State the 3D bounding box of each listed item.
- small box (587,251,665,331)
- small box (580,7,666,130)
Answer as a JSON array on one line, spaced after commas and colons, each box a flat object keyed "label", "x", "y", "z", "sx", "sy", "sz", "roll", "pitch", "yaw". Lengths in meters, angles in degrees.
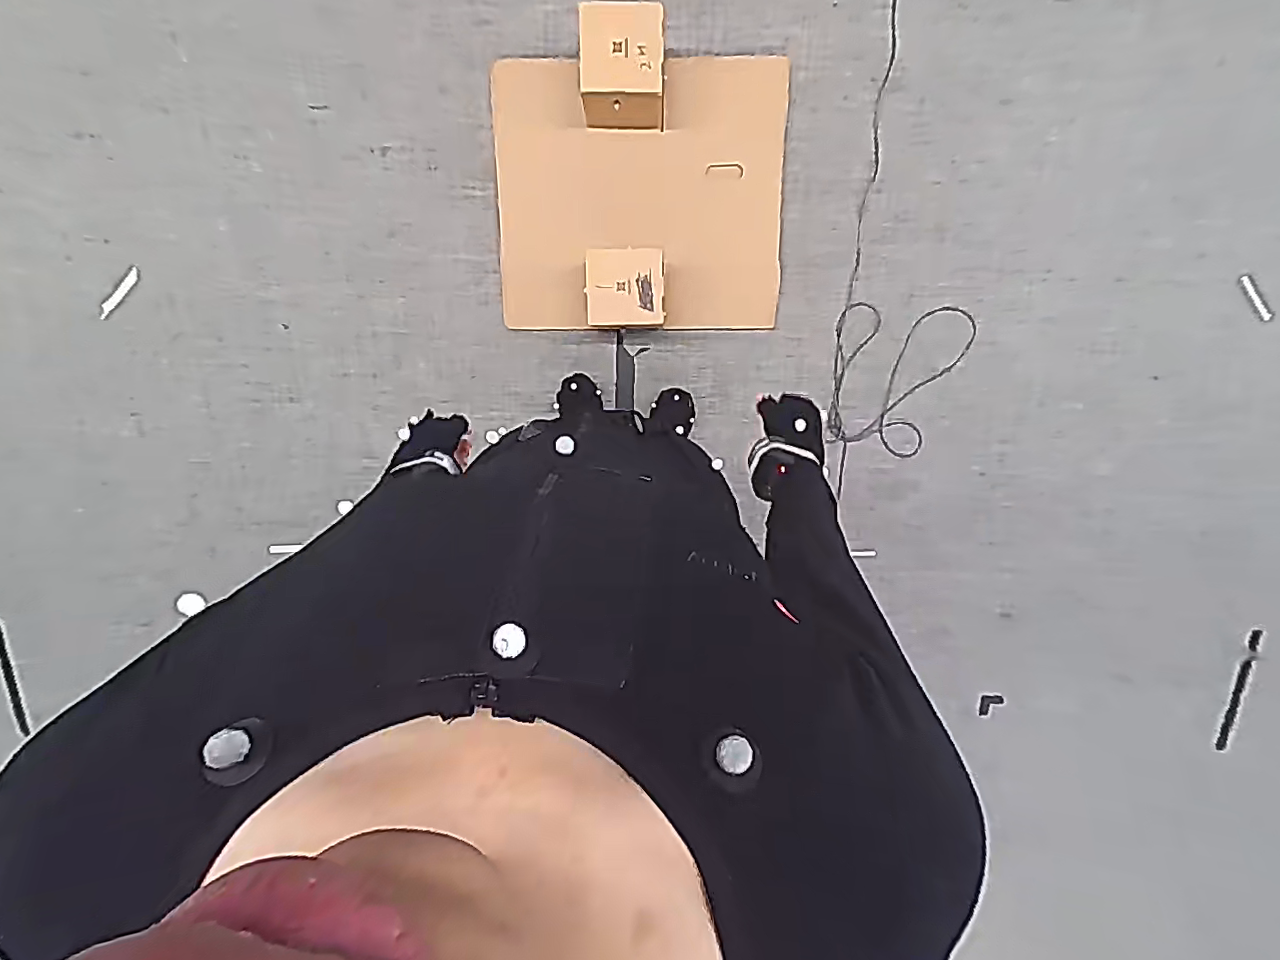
[{"label": "small box", "x": -0.031, "y": -0.449, "z": 1.299, "sx": 0.179, "sy": 0.176, "sz": 0.168, "roll": -1, "pitch": 103, "yaw": 1}, {"label": "small box", "x": -0.036, "y": -0.901, "z": 1.199, "sx": 0.179, "sy": 0.176, "sz": 0.168, "roll": 1, "pitch": 102, "yaw": -1}]
